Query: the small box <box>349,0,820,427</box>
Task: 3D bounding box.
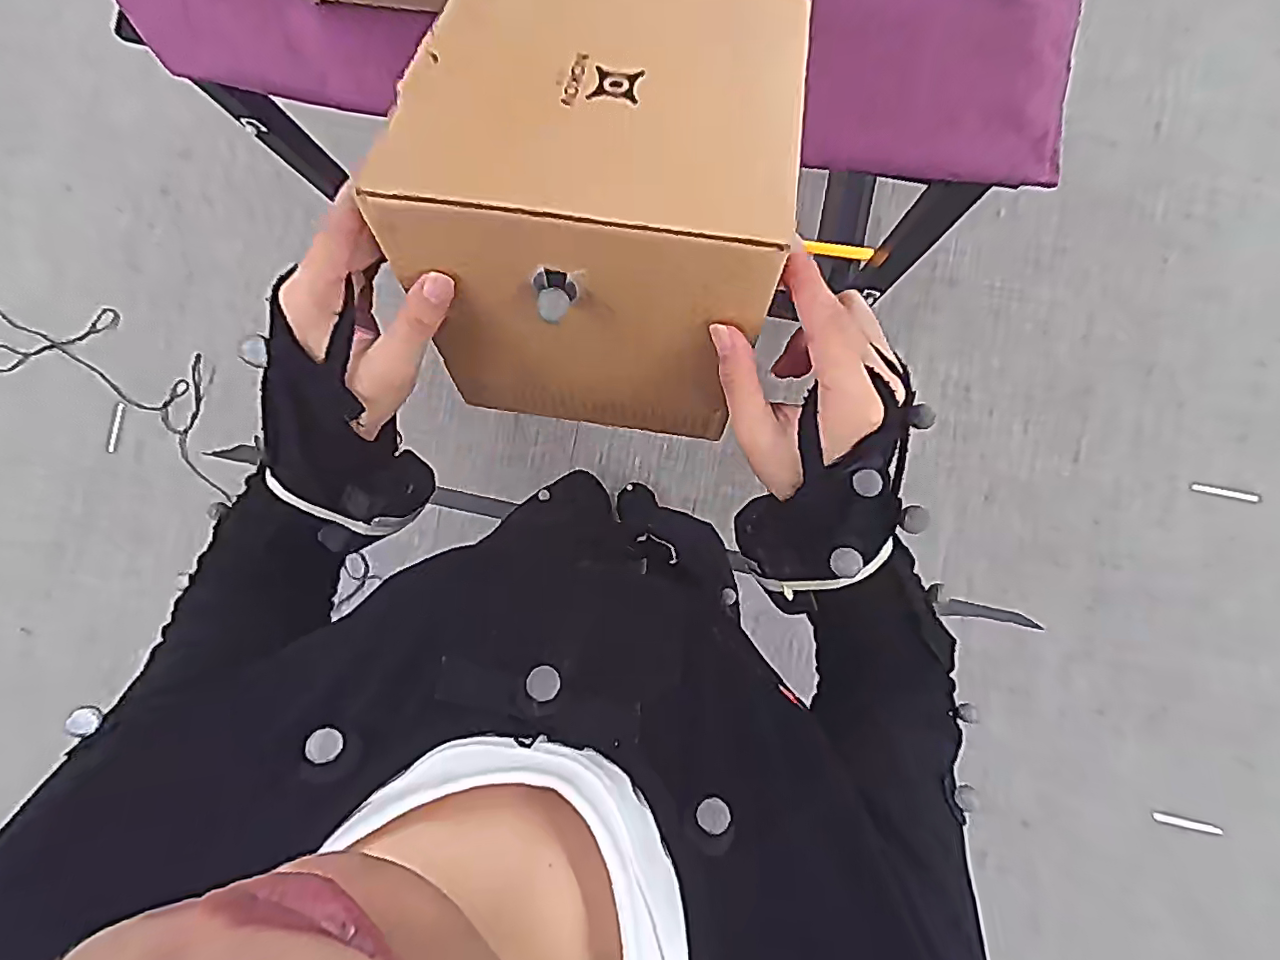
[{"bbox_3d":[-0.015,-0.144,0.305,0.179,0.176,0.168,9,68,3],"label":"small box"}]
